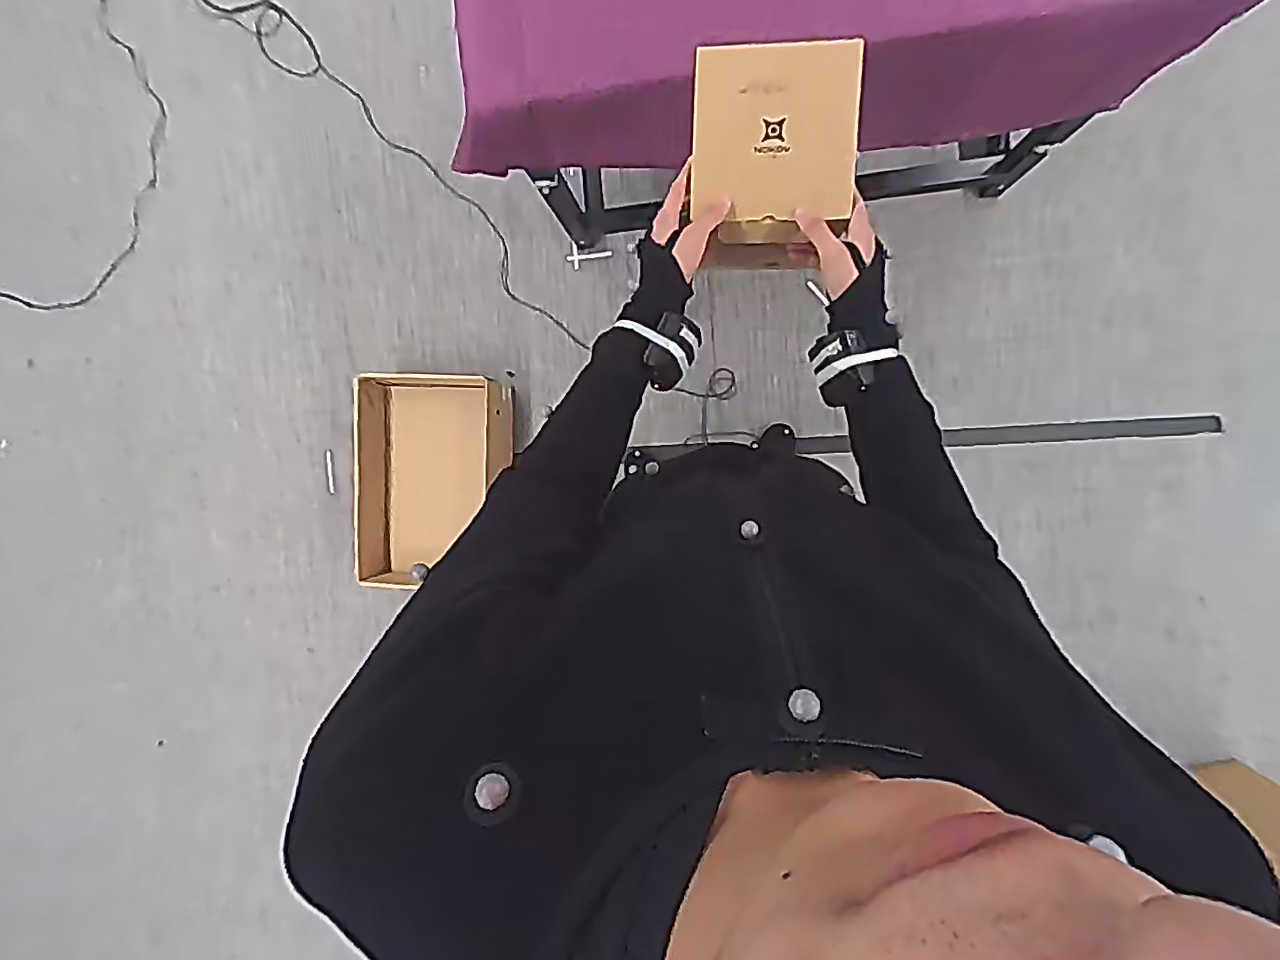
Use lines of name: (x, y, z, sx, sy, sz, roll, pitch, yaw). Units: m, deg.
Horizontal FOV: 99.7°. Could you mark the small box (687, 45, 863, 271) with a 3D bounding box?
small box: (0.144, -0.352, 0.626, 0.168, 0.176, 0.179, 3, 95, 6)
